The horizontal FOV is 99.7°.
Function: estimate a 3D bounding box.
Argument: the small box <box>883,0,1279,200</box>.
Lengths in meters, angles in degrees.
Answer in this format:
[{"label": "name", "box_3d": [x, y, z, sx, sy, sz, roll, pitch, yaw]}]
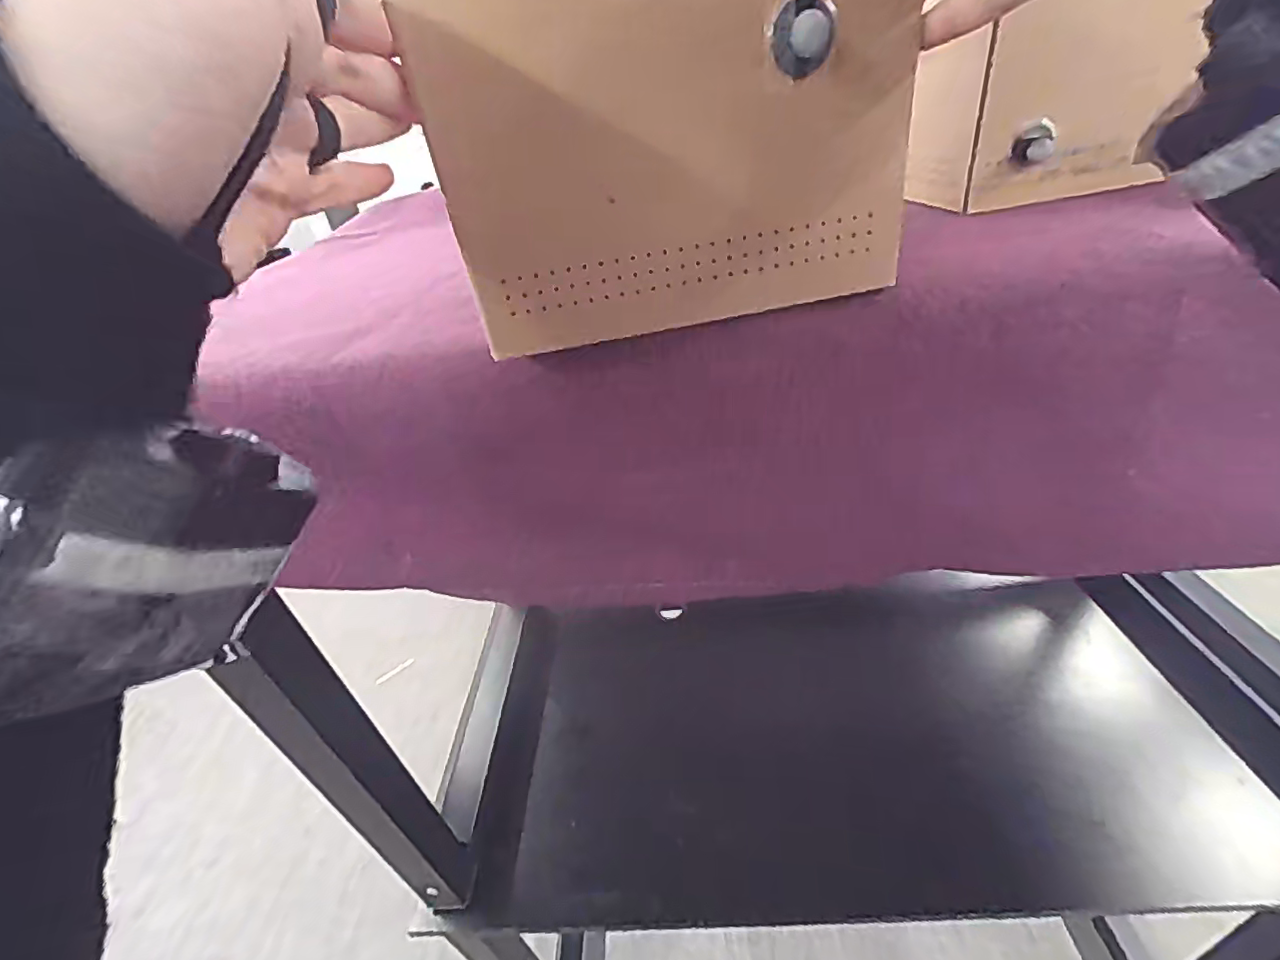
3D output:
[{"label": "small box", "box_3d": [0.252, -0.287, 0.345, 0.168, 0.176, 0.179, -9, 33, 1]}]
